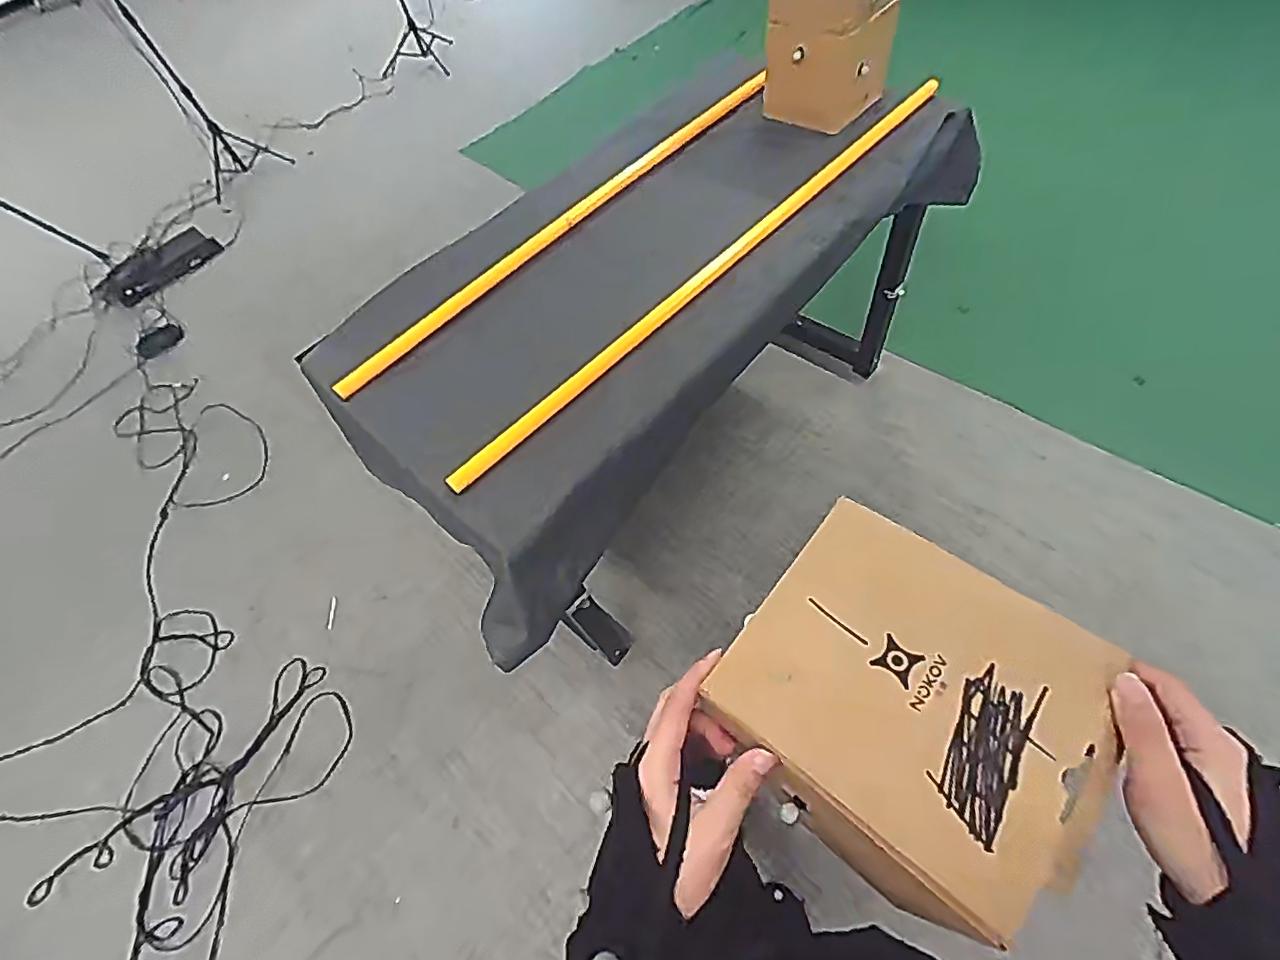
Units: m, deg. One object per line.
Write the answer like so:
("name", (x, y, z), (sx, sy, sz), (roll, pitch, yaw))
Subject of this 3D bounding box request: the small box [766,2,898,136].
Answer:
("small box", (0.365, -0.809, 1.059), (0.179, 0.176, 0.168), (37, 72, 28))

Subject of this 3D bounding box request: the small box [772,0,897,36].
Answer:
("small box", (0.341, -0.898, 0.925), (0.179, 0.176, 0.168), (35, 72, 27))
